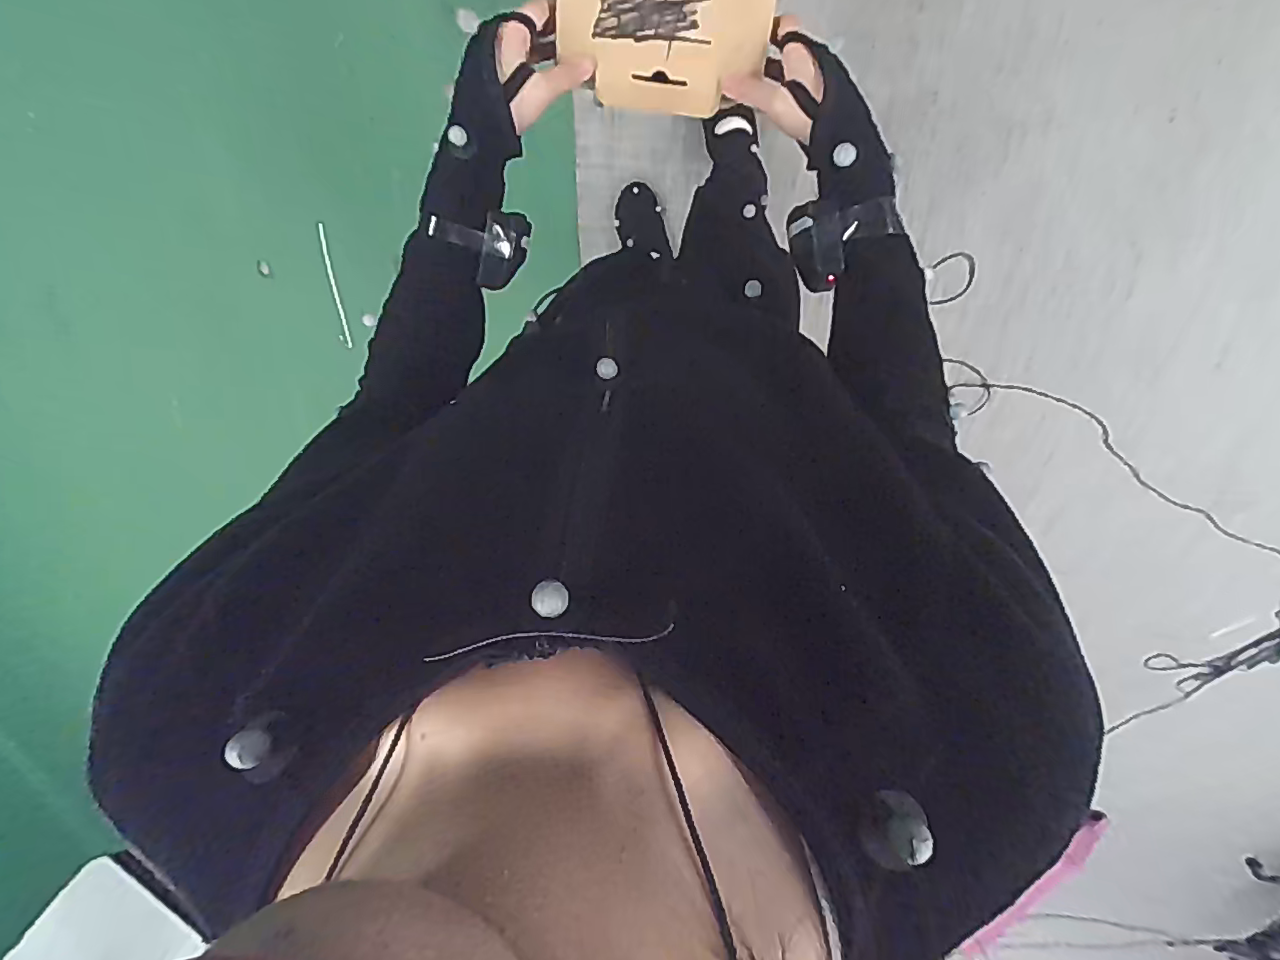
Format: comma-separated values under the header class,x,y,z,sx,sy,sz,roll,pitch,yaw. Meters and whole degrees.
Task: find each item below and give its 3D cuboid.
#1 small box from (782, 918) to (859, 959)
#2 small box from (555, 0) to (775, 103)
class,x,y,z,sx,sy,sz,roll,pitch,yaw
small box,0.491,1.325,1.463,0.168,0.176,0.179,5,121,2
small box,0.022,-0.431,0.451,0.168,0.176,0.179,4,121,-5
